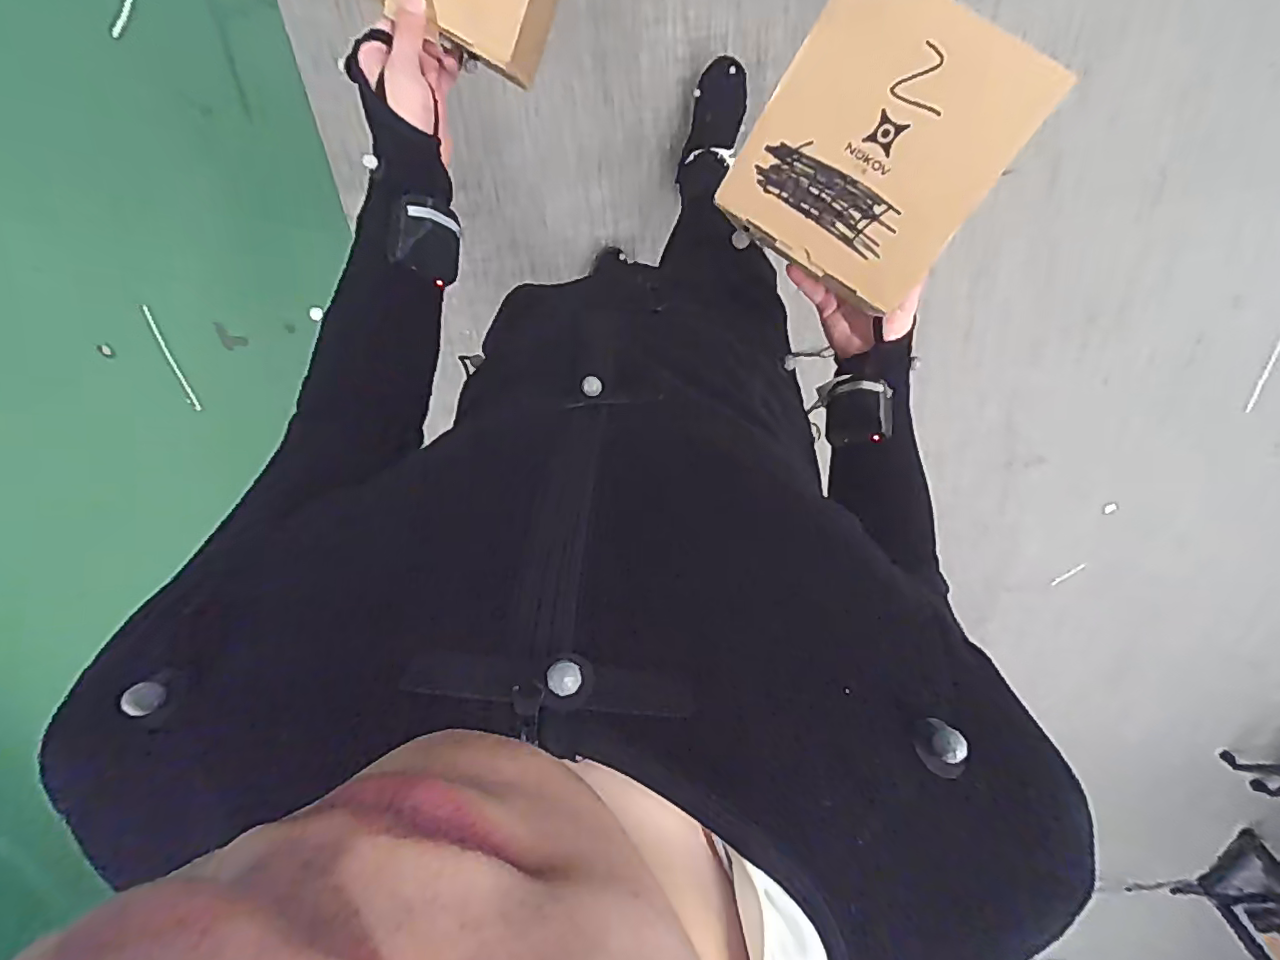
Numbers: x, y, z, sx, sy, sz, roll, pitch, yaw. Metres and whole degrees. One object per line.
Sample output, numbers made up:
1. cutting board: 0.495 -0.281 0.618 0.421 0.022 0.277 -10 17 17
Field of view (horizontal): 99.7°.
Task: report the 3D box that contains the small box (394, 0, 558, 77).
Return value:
1. small box: -0.151 -0.497 0.475 0.168 0.176 0.179 23 115 -16
